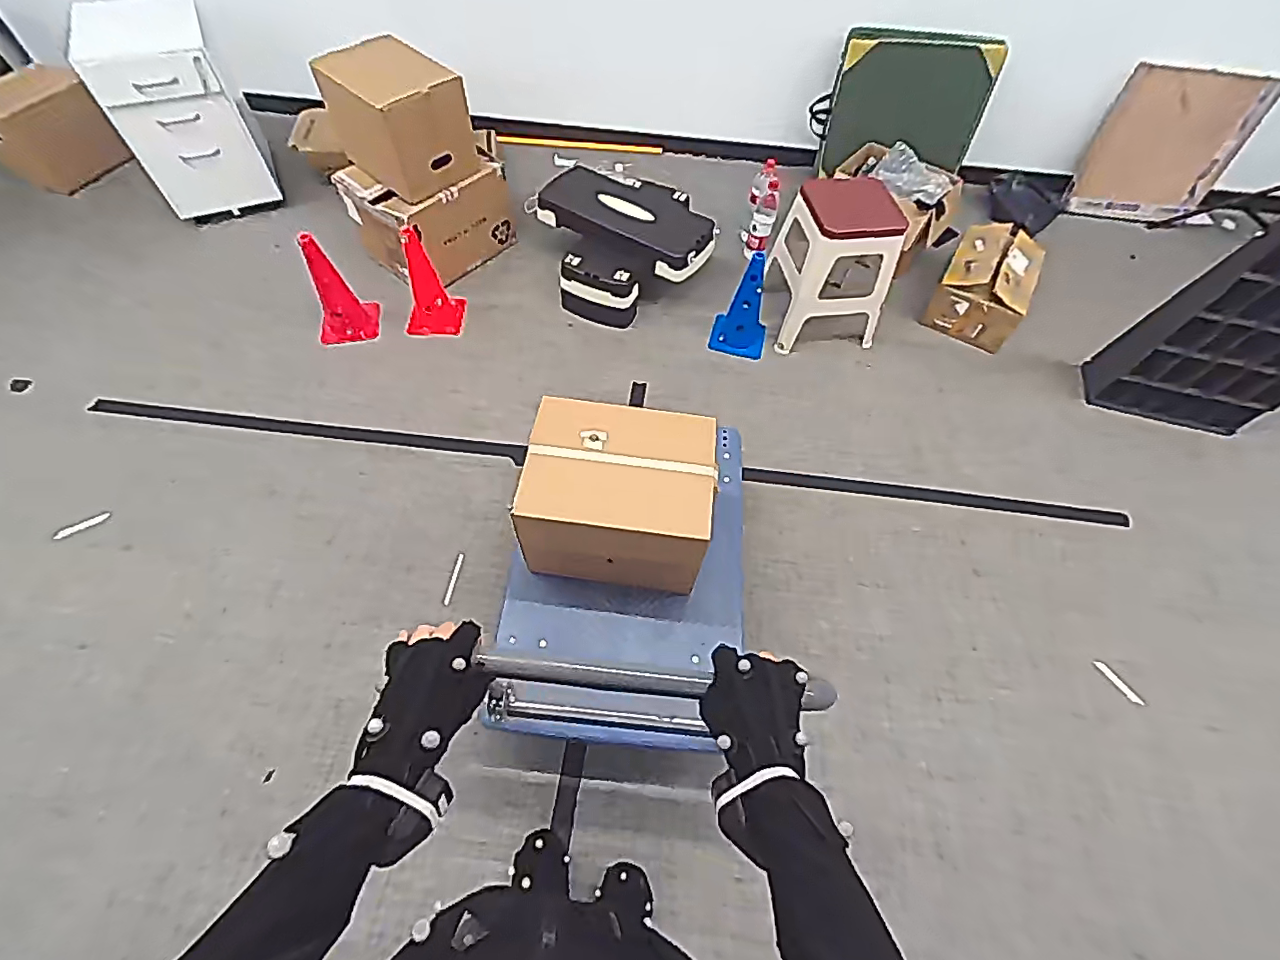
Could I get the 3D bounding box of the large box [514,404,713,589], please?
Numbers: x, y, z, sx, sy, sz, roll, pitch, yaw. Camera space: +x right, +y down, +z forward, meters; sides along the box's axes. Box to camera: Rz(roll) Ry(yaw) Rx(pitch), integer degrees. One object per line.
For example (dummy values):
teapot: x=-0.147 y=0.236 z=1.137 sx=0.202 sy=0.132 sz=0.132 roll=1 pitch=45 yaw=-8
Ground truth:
large box: x=-0.048 y=0.050 z=1.297 sx=0.408 sy=0.320 sz=0.320 roll=7 pitch=58 yaw=2
